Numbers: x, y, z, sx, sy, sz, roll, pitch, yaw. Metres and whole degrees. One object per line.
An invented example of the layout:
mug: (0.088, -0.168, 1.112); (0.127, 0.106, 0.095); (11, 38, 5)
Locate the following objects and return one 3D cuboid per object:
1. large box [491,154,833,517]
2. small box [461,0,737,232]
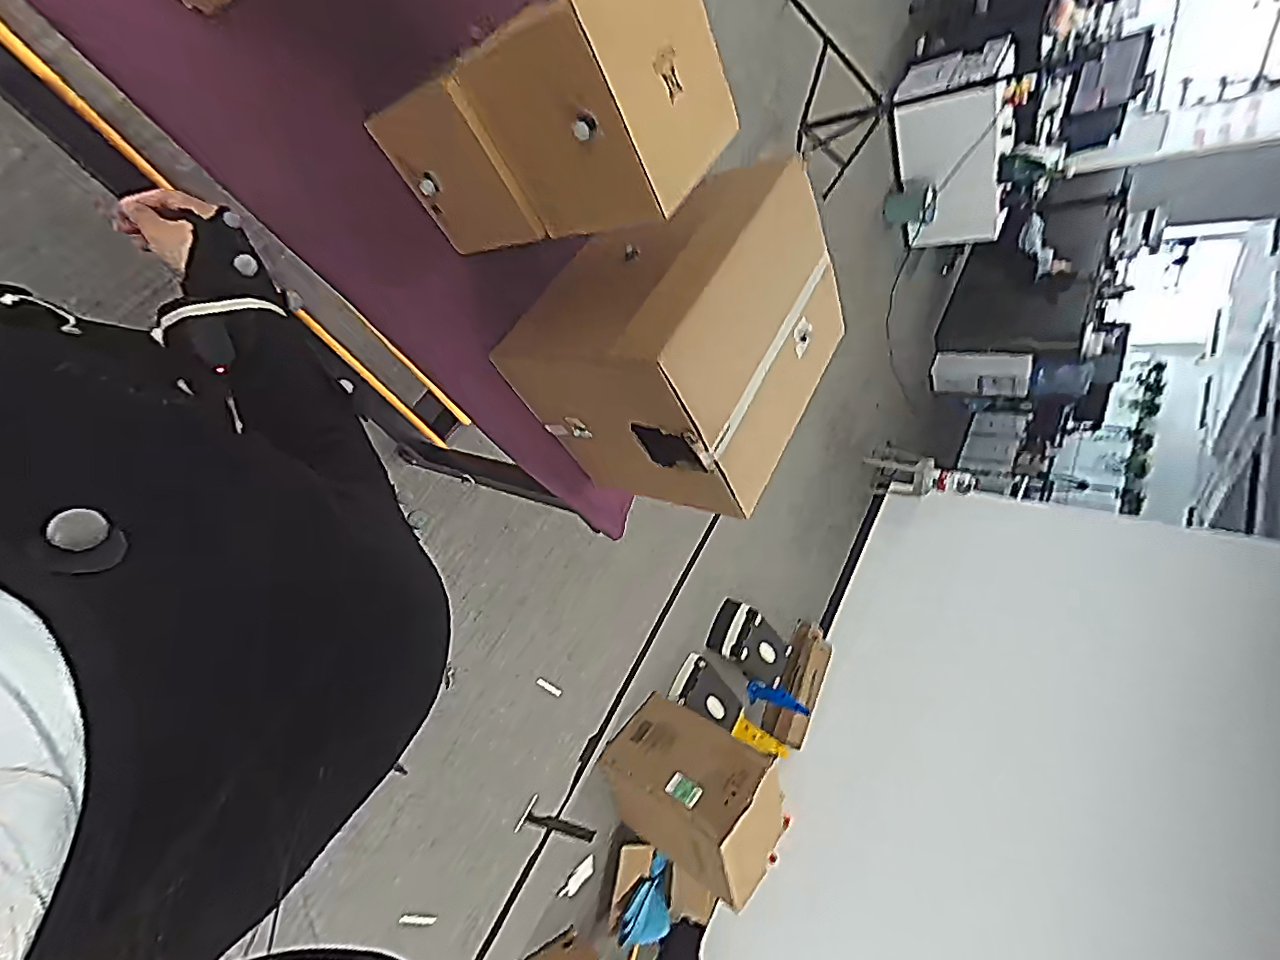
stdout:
large box: (0.055, -0.210, 0.839); (0.408, 0.320, 0.320); (-59, 138, -23)
small box: (-0.035, -0.369, 0.536); (0.168, 0.176, 0.179); (-57, 136, -23)
